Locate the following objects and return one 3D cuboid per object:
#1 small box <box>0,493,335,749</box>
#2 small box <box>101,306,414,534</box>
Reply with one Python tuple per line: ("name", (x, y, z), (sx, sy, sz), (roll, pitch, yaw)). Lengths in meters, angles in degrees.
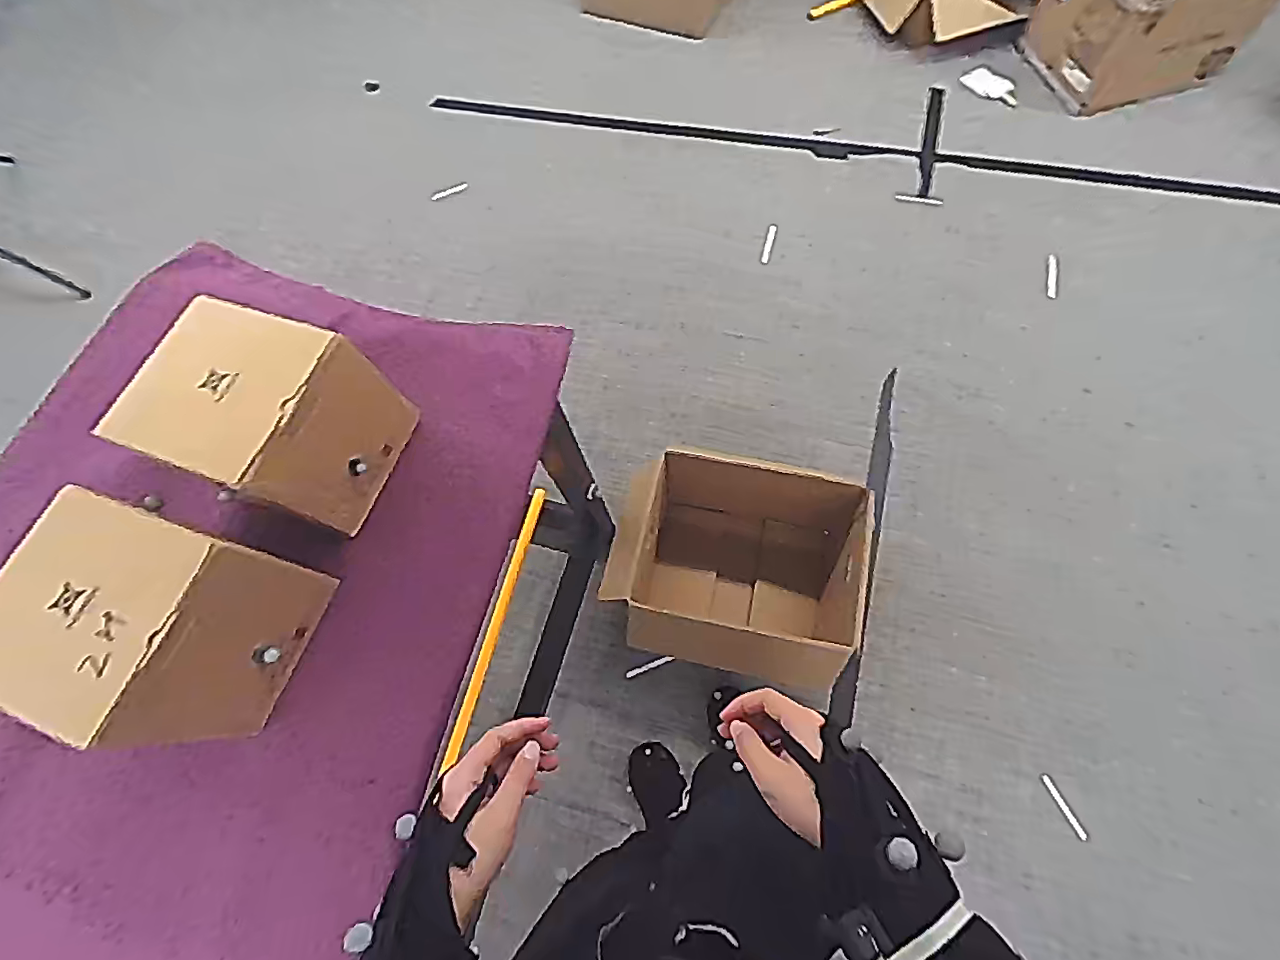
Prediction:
("small box", (-0.443, 0.135, 0.511), (0.179, 0.176, 0.168), (16, 71, 12))
("small box", (-0.387, -0.055, 0.582), (0.179, 0.176, 0.168), (16, 71, 12))
